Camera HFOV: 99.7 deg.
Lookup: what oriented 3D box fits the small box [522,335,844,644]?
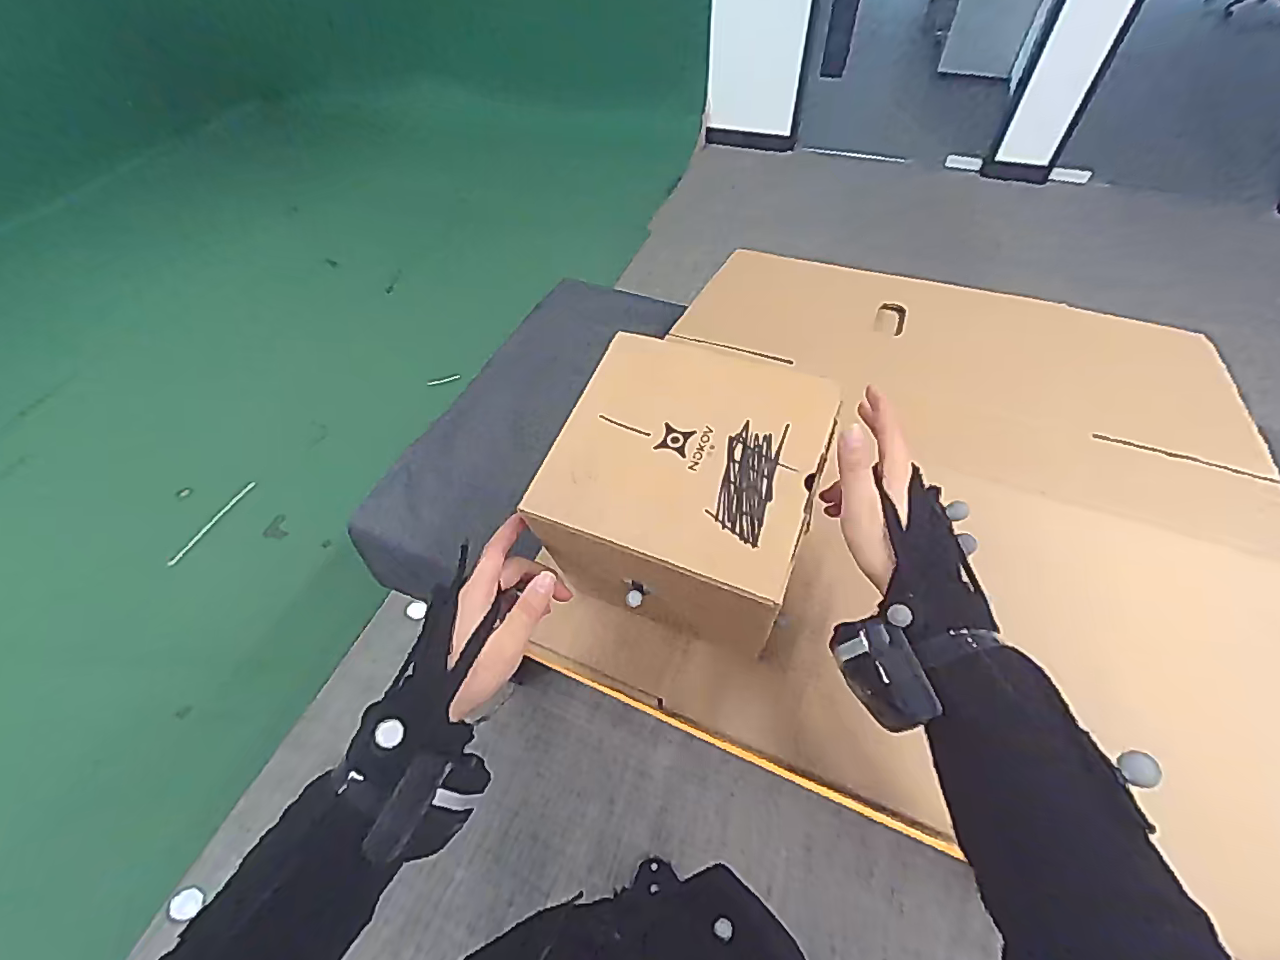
[{"bbox_3d":[0.040,0.017,0.435,0.179,0.176,0.168,18,65,17],"label":"small box"}]
